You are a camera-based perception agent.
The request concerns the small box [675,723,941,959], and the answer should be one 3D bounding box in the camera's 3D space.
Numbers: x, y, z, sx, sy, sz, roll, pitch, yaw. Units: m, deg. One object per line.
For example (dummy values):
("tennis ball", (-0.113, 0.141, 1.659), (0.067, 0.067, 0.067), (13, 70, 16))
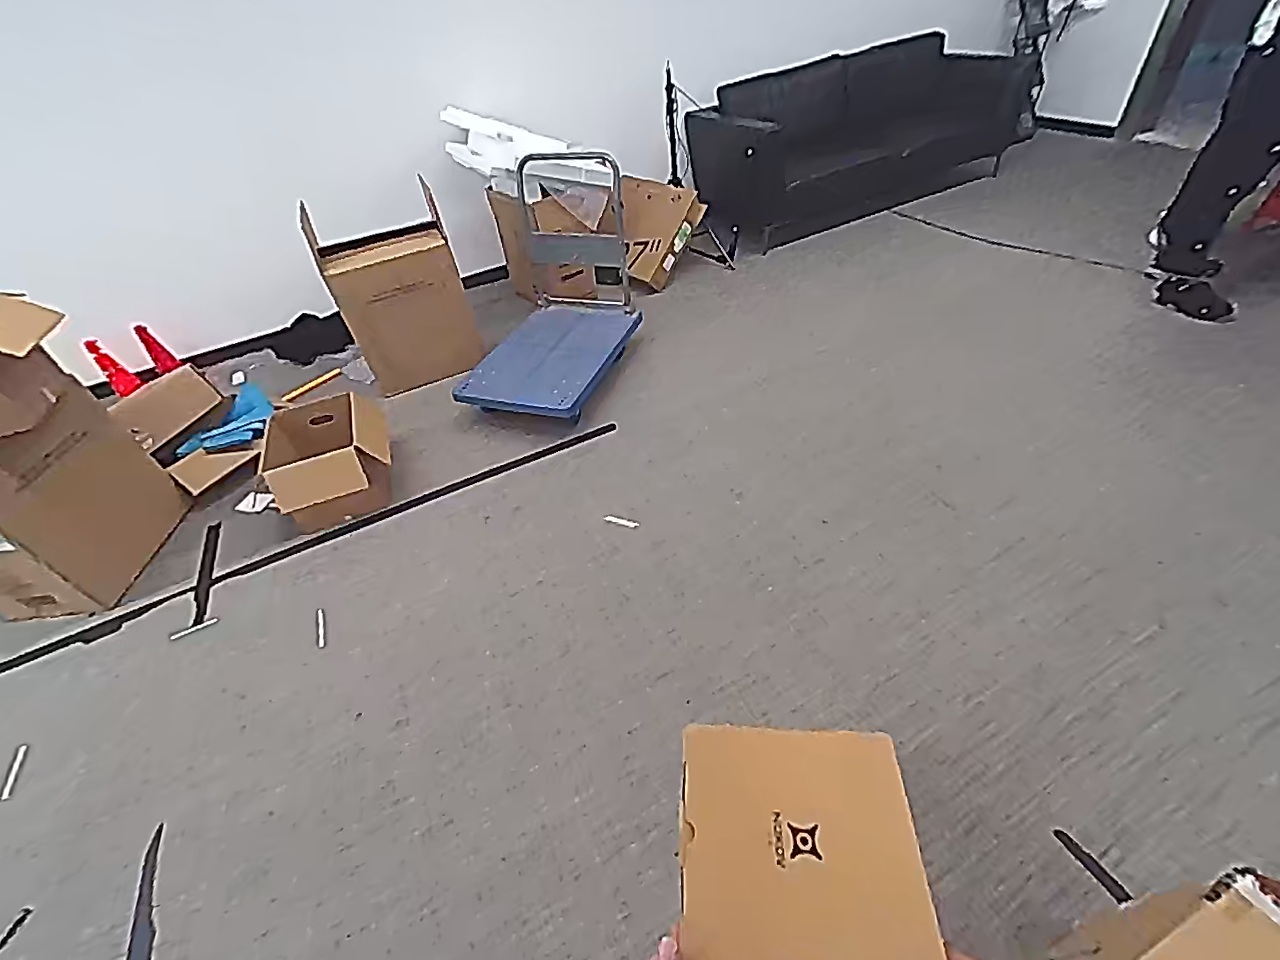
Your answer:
("small box", (0.123, 0.327, 0.462), (0.179, 0.176, 0.168), (-1, 44, 7))
